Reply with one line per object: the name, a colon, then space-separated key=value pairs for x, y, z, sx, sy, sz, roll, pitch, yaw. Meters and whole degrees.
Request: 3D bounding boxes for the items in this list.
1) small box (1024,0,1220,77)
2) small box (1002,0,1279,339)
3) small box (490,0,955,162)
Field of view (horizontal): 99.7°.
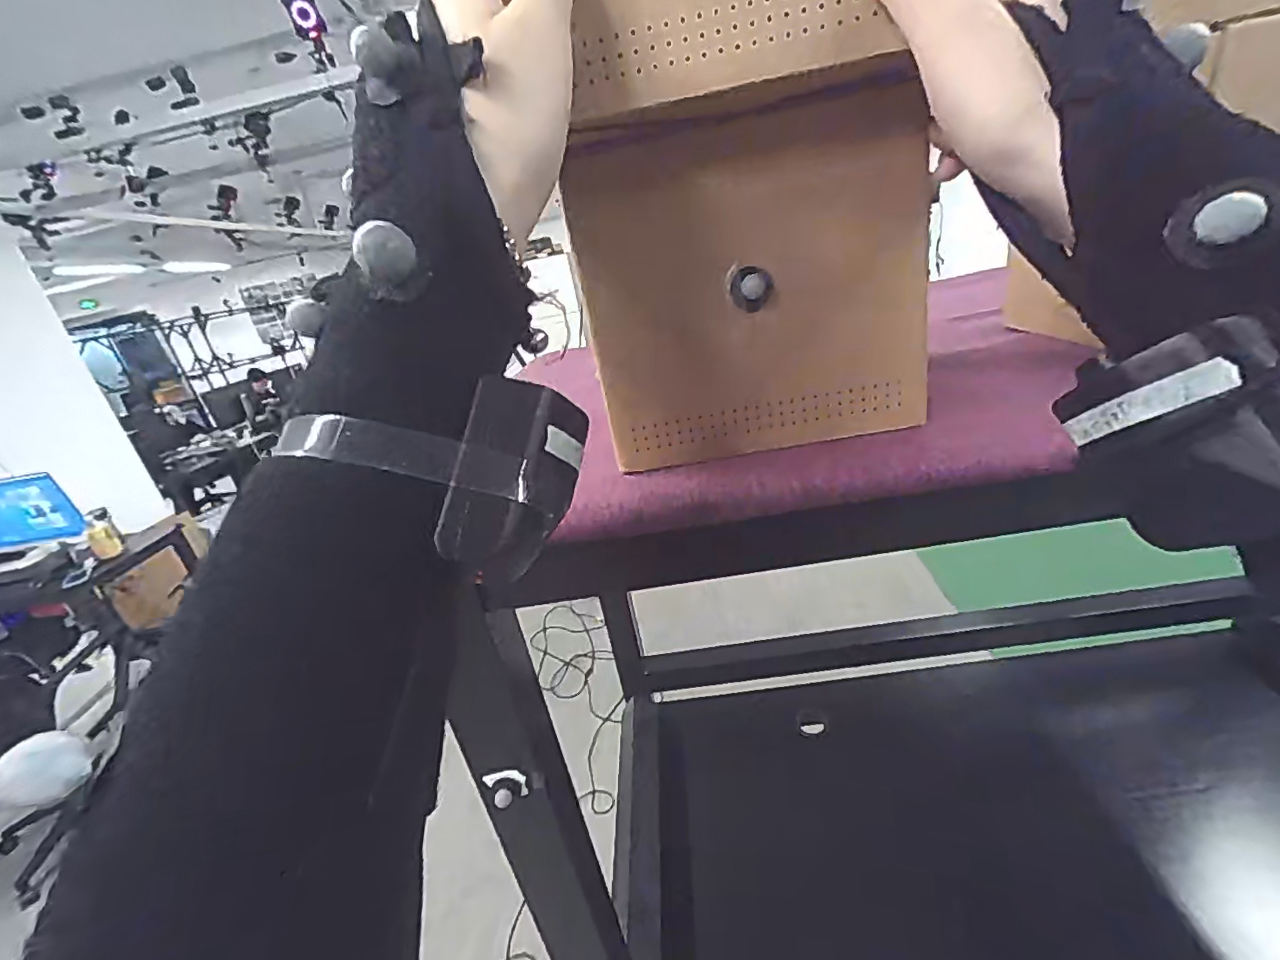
small box: x=0.340 y=-0.343 z=0.289 sx=0.179 sy=0.176 sz=0.168 roll=-8 pitch=23 yaw=7
small box: x=0.370 y=-0.193 z=0.351 sx=0.168 sy=0.176 sz=0.179 roll=-8 pitch=22 yaw=6
small box: x=0.021 y=-0.261 z=0.247 sx=0.179 sy=0.176 sz=0.168 roll=-10 pitch=22 yaw=6
